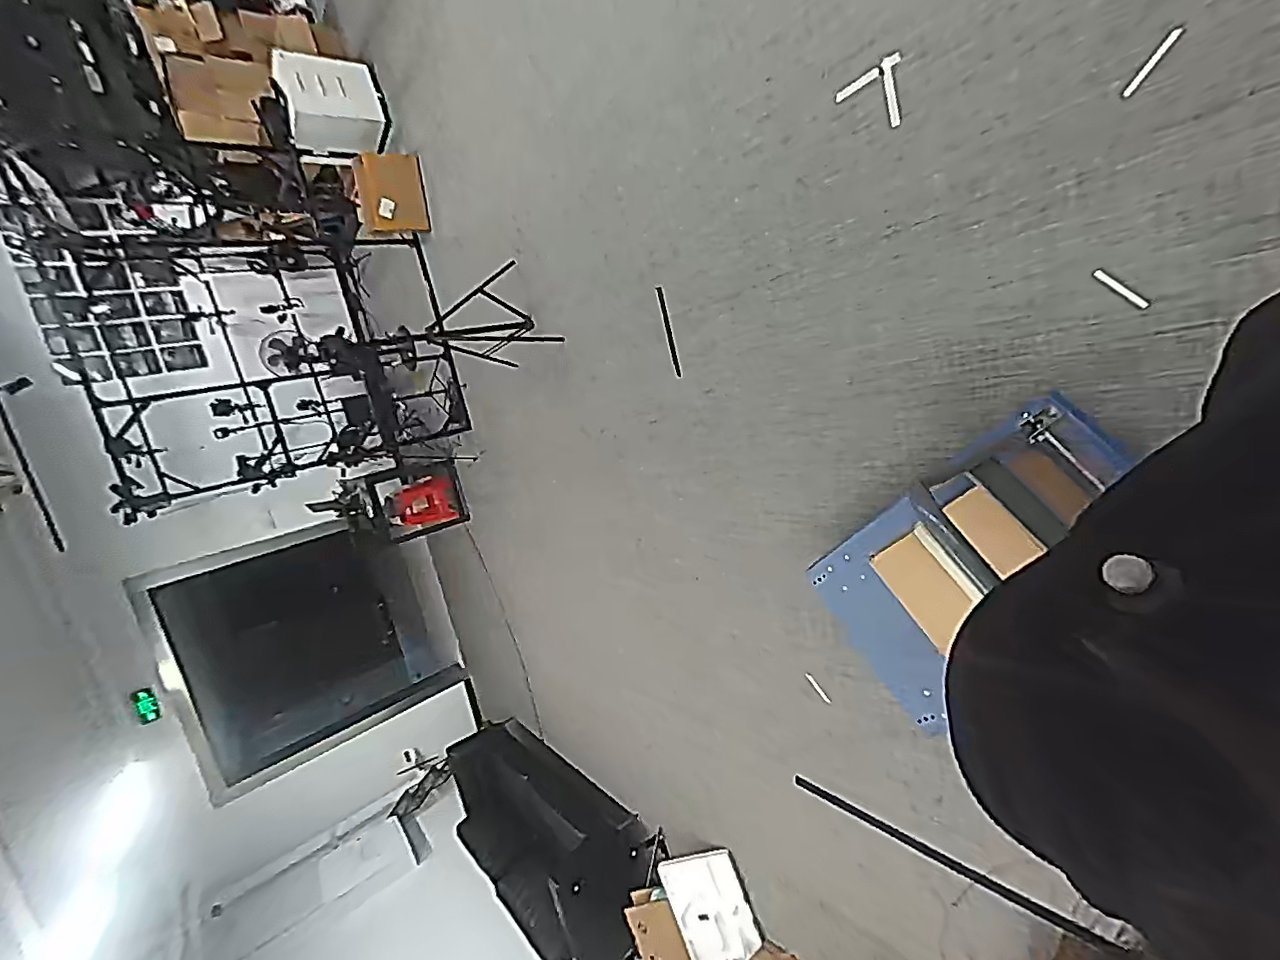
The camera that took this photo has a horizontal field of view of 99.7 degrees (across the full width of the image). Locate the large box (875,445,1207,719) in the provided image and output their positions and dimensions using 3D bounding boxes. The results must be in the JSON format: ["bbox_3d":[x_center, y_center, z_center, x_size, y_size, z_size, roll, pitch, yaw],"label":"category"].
[{"bbox_3d":[0.798,0.198,1.111,0.408,0.320,0.320,56,142,21],"label":"large box"}]
